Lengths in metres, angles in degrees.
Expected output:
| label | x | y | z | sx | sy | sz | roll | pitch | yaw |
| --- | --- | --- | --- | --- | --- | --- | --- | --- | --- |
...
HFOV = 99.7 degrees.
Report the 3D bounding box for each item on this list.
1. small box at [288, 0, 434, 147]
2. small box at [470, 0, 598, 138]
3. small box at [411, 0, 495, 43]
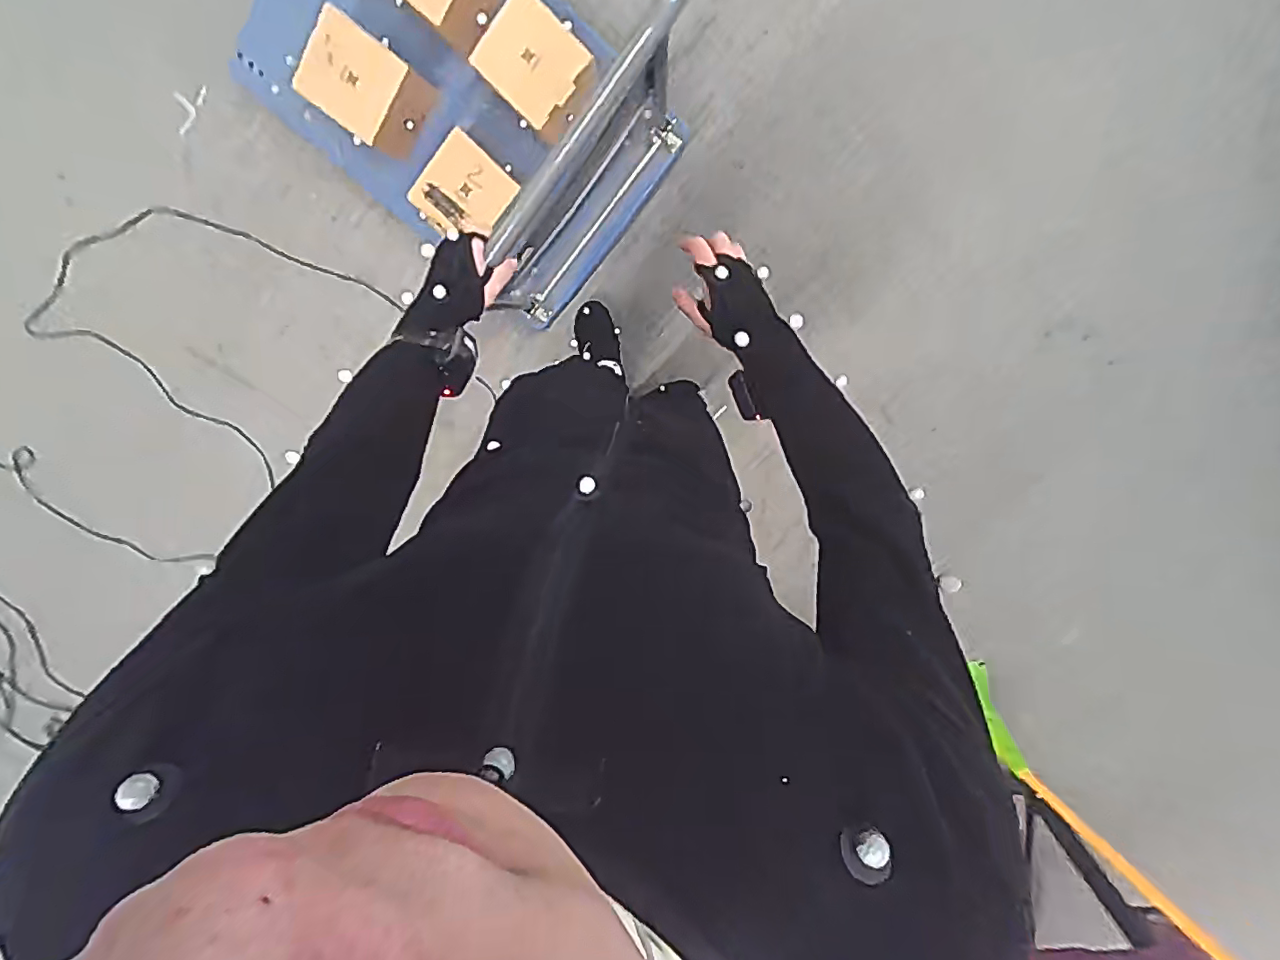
| label | x | y | z | sx | sy | sz | roll | pitch | yaw |
| --- | --- | --- | --- | --- | --- | --- | --- | --- | --- |
| small box | -0.553 | -0.811 | 1.096 | 0.179 | 0.176 | 0.168 | 36 | 106 | -12 |
| small box | -0.204 | -0.832 | 1.086 | 0.179 | 0.176 | 0.168 | 41 | 106 | -14 |
| small box | -0.386 | -0.990 | 1.026 | 0.179 | 0.176 | 0.168 | 38 | 107 | -13 |
